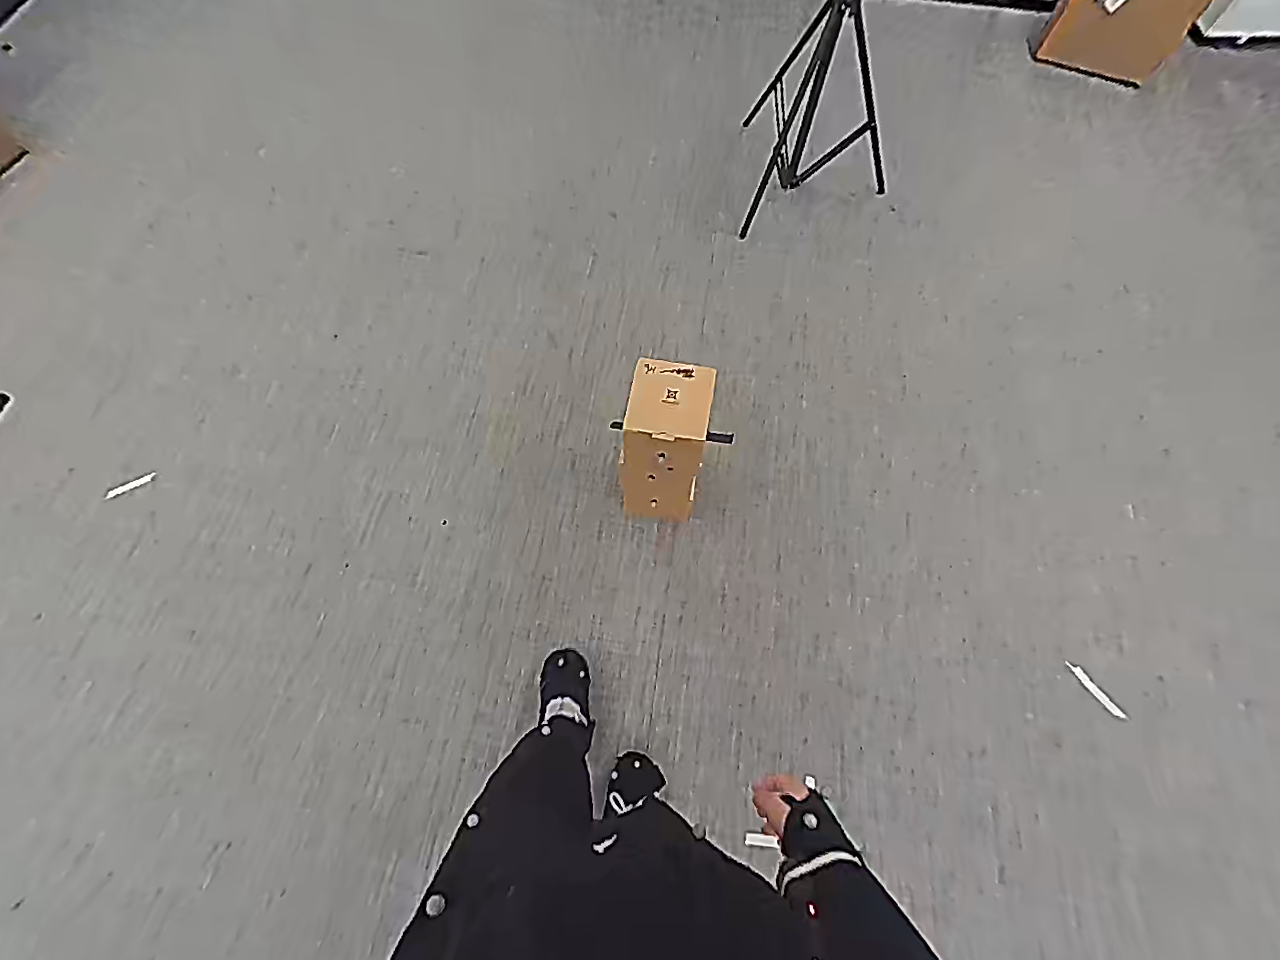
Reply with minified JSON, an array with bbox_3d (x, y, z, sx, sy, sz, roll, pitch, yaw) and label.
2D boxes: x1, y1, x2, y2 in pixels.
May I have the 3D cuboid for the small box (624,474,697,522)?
[{"bbox_3d":[0.057,0.005,1.452,0.179,0.176,0.168,8,67,3],"label":"small box"}]

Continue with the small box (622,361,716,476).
[{"bbox_3d":[0.061,-0.124,1.150,0.168,0.176,0.179,10,68,4],"label":"small box"}]

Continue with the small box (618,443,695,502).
[{"bbox_3d":[0.051,-0.058,1.300,0.179,0.176,0.168,11,68,4],"label":"small box"}]
